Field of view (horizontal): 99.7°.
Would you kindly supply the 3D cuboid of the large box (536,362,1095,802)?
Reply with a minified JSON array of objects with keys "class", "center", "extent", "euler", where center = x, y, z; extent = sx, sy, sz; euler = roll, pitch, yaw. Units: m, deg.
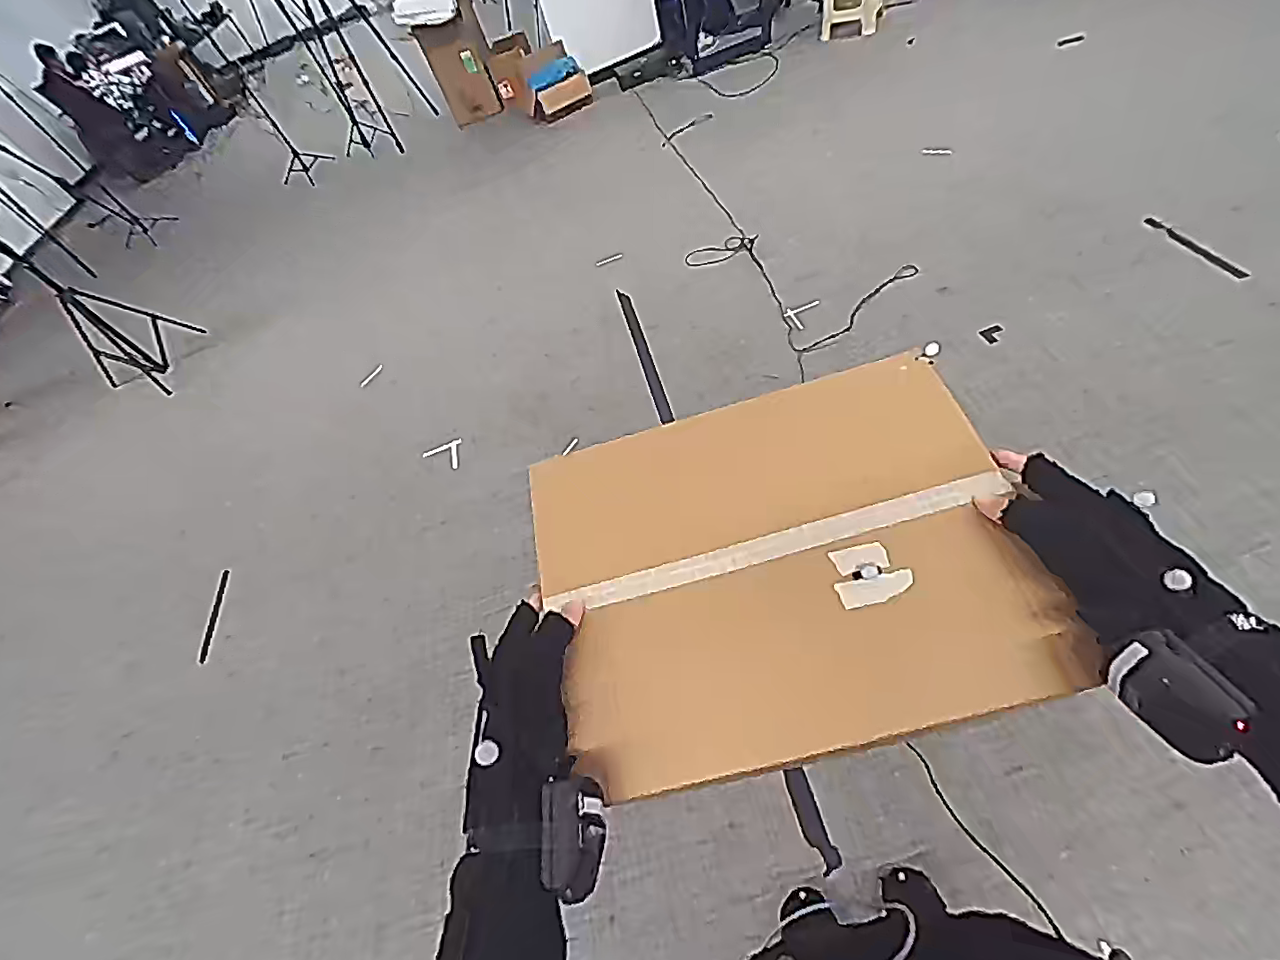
[{"class":"large box","center":[0.139,0.135,0.604],"extent":[0.408,0.320,0.320],"euler":[-16,60,4]}]
